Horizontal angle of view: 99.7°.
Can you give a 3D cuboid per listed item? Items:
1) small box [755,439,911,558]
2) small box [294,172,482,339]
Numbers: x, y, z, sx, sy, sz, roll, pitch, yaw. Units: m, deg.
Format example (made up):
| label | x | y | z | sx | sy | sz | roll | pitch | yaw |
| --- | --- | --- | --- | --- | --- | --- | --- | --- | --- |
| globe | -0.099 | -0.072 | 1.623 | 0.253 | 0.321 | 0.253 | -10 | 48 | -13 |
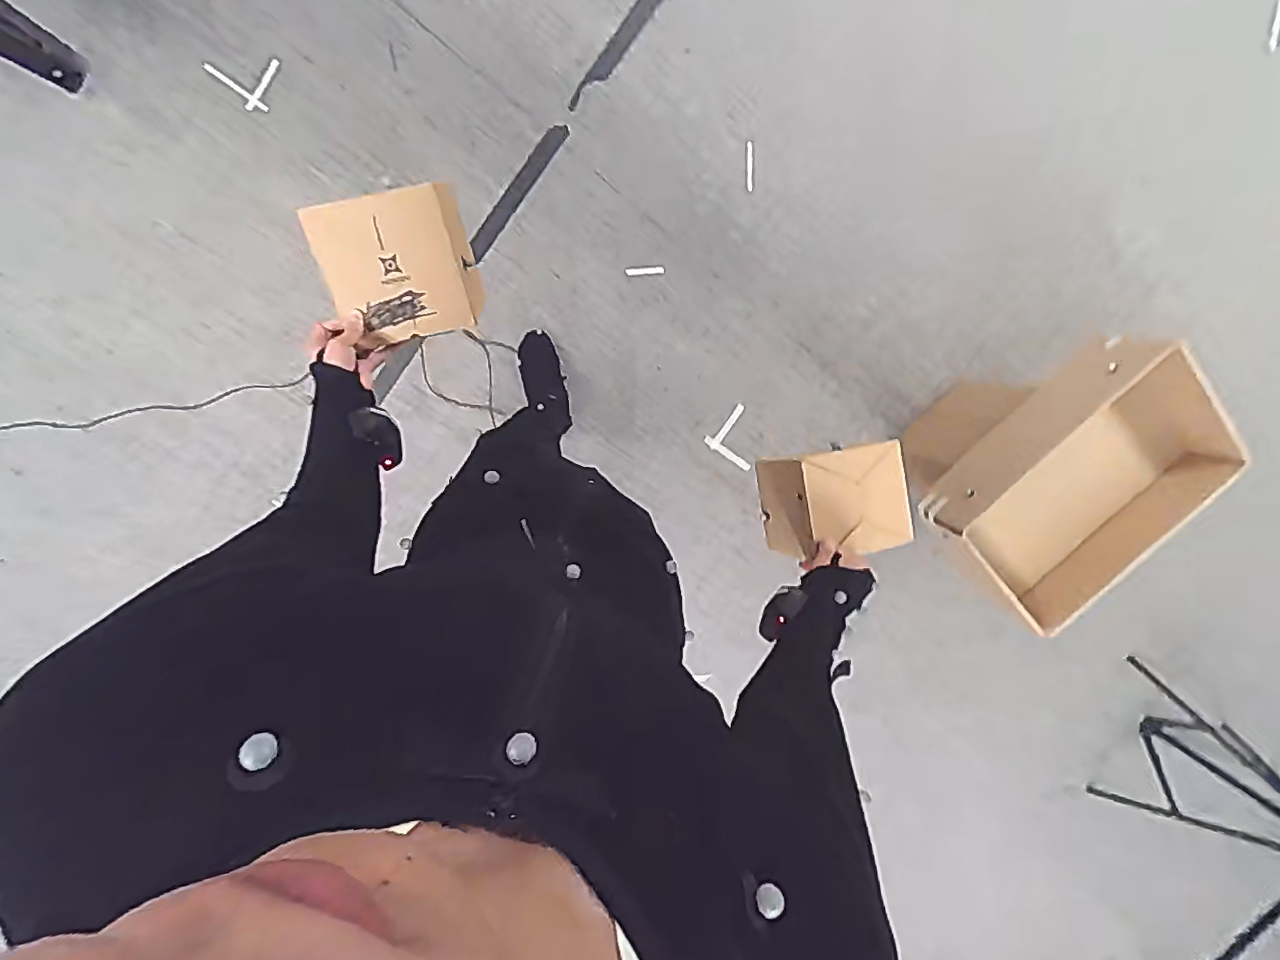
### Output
| label | x | y | z | sx | sy | sz | roll | pitch | yaw |
| --- | --- | --- | --- | --- | --- | --- | --- | --- | --- |
| small box | 0.317 | 0.027 | 0.899 | 0.179 | 0.176 | 0.168 | -10 | 92 | -13 |
| small box | -0.326 | -0.315 | 0.748 | 0.168 | 0.176 | 0.179 | -13 | 120 | -4 |
